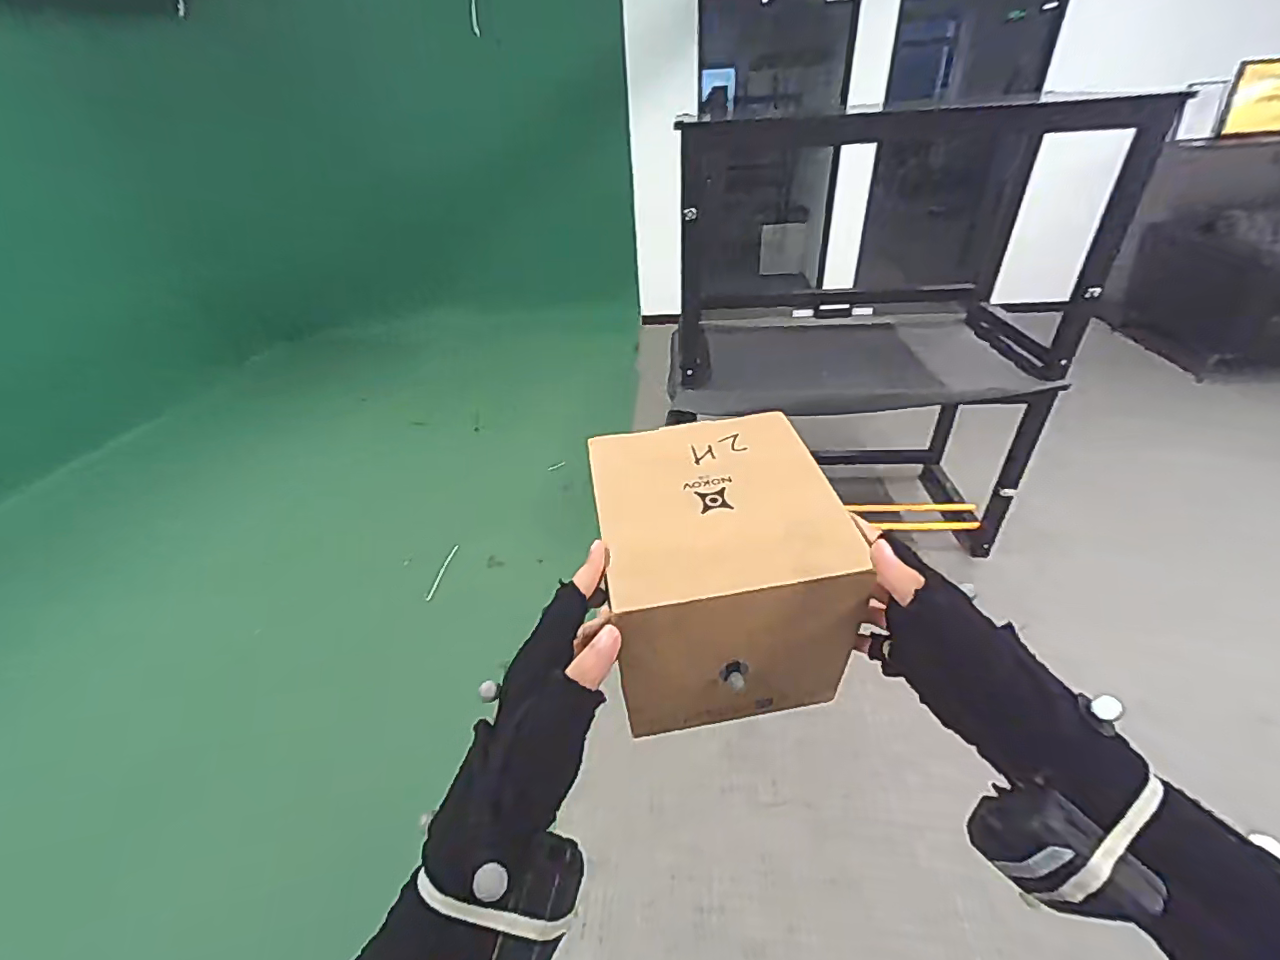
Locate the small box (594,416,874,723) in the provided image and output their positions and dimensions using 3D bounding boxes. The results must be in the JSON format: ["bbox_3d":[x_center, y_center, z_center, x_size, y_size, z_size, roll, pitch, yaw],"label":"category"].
[{"bbox_3d":[0.059,0.074,0.436,0.168,0.176,0.179,-8,40,-4],"label":"small box"}]
